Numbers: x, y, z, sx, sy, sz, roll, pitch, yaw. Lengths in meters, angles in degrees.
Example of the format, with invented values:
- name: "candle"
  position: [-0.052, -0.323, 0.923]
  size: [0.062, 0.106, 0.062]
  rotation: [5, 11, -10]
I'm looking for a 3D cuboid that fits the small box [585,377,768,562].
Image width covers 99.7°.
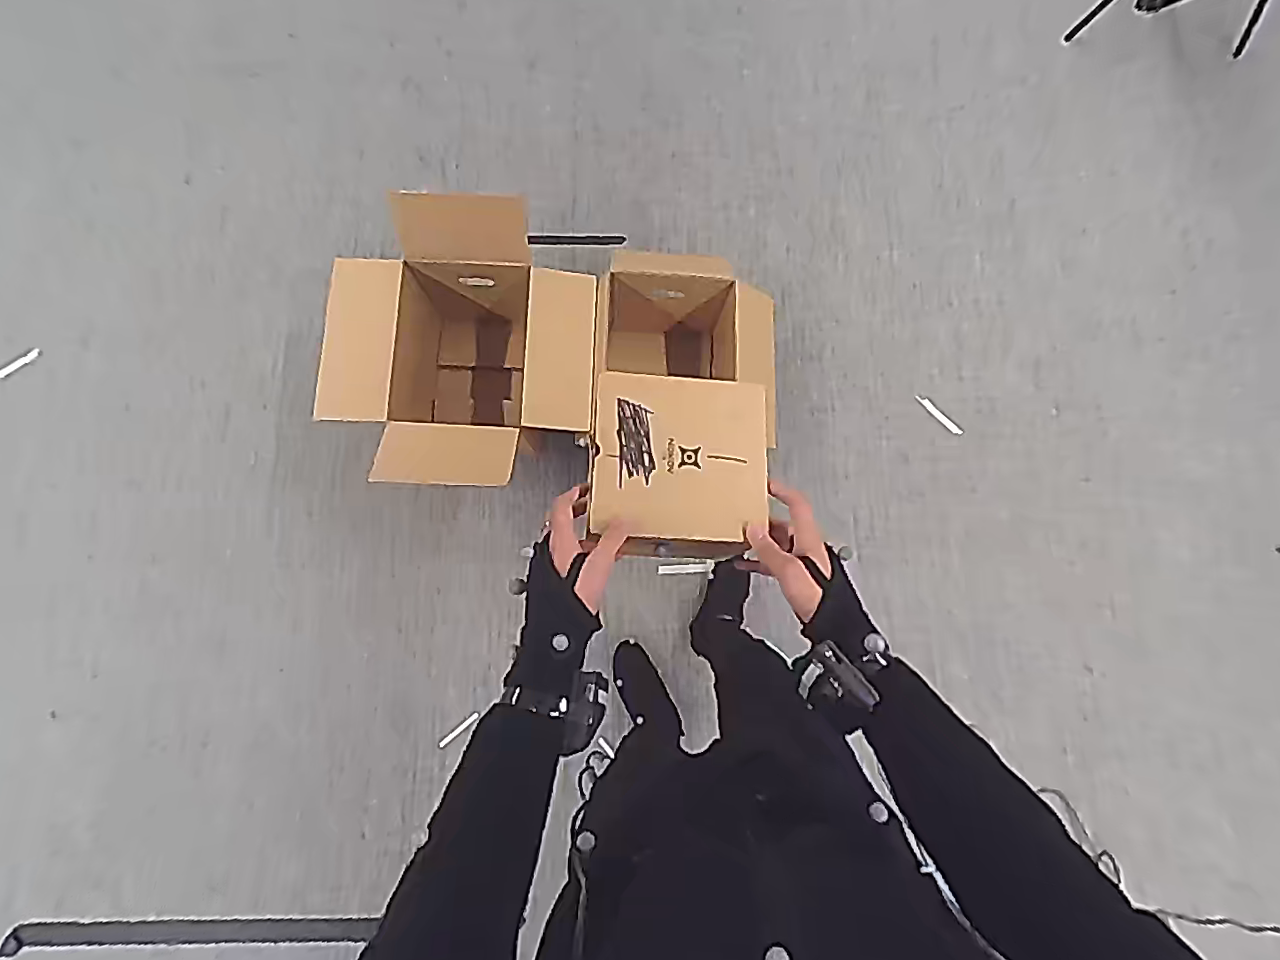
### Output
- name: "small box"
  position: [0.031, 0.000, 0.603]
  size: [0.179, 0.176, 0.168]
  rotation: [3, 76, -6]
